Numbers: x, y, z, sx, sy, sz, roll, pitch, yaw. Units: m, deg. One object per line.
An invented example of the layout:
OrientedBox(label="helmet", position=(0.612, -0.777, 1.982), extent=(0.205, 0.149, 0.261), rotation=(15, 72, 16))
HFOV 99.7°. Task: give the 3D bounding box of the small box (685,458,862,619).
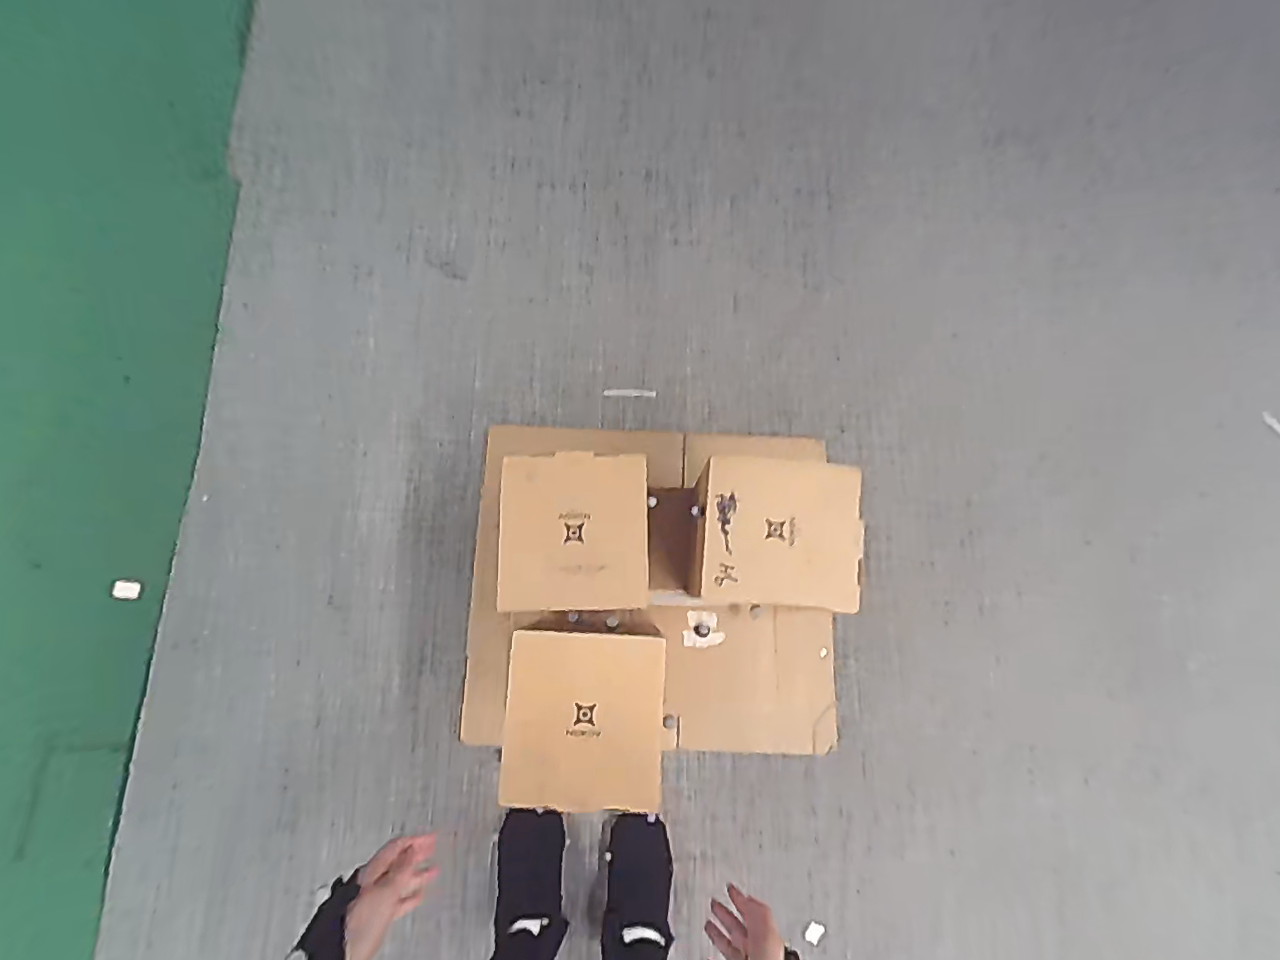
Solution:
OrientedBox(label="small box", position=(0.158, 0.078, 0.683), extent=(0.179, 0.176, 0.168), rotation=(6, 78, 0))

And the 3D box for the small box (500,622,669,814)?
OrientedBox(label="small box", position=(-0.059, 0.264, 0.639), extent=(0.168, 0.176, 0.179), rotation=(3, 80, -2))
